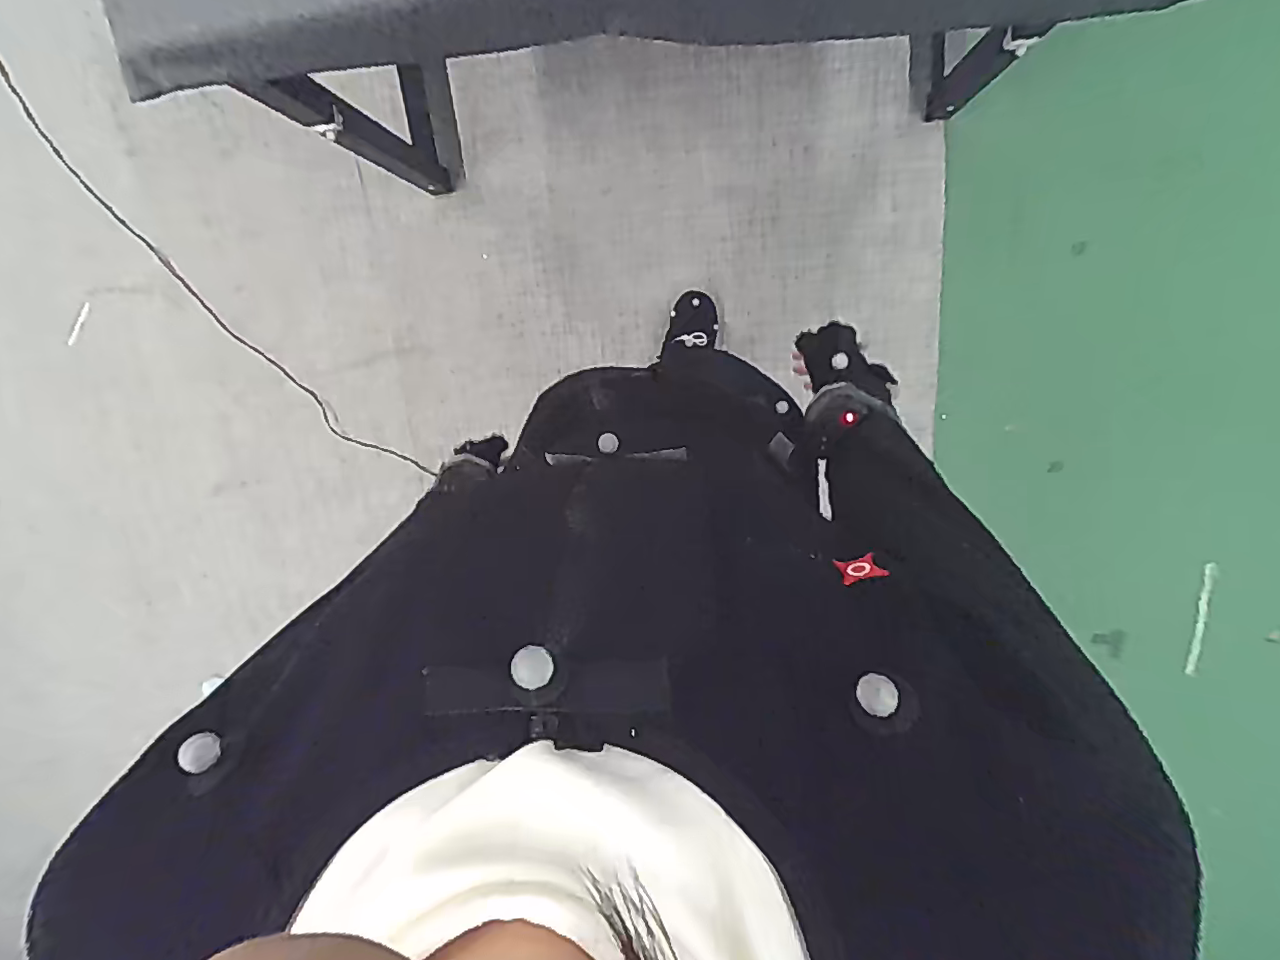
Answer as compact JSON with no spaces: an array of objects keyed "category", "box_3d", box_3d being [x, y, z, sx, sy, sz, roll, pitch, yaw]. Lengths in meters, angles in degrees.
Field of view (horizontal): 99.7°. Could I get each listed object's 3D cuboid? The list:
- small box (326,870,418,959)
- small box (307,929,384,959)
[{"category":"small box","box_3d":[-0.730,1.198,1.445,0.179,0.176,0.168,30,107,-2]},{"category":"small box","box_3d":[-0.740,1.228,1.281,0.168,0.176,0.179,24,104,-1]}]
